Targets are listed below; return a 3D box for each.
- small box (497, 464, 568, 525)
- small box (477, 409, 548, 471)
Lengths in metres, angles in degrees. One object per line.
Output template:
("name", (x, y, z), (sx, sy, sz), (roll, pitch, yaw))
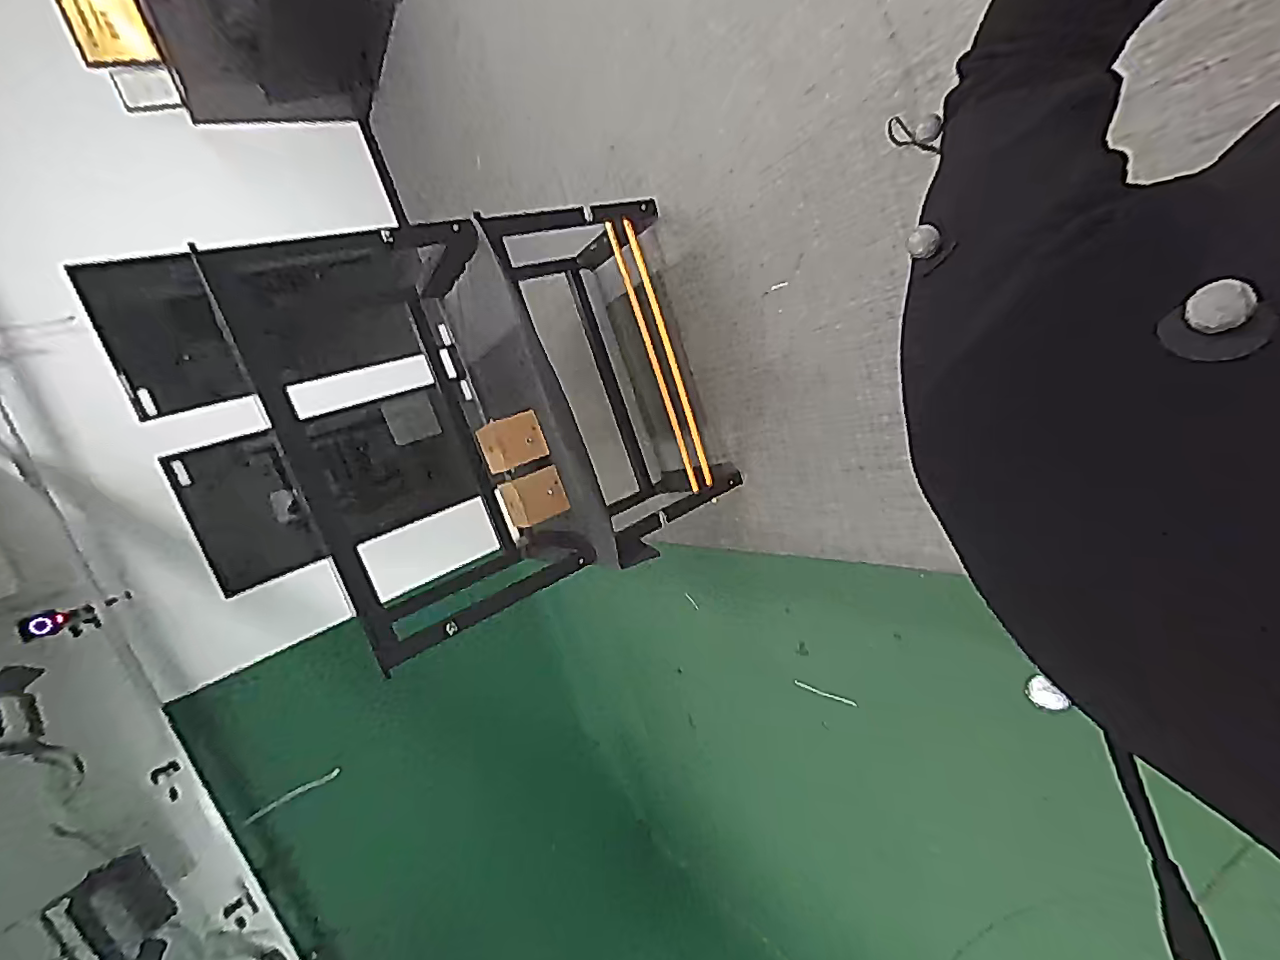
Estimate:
("small box", (-0.378, 0.052, 1.918), (0.179, 0.176, 0.168), (-9, 103, 58))
("small box", (-0.447, -0.139, 1.897), (0.179, 0.176, 0.168), (-9, 104, 58))
